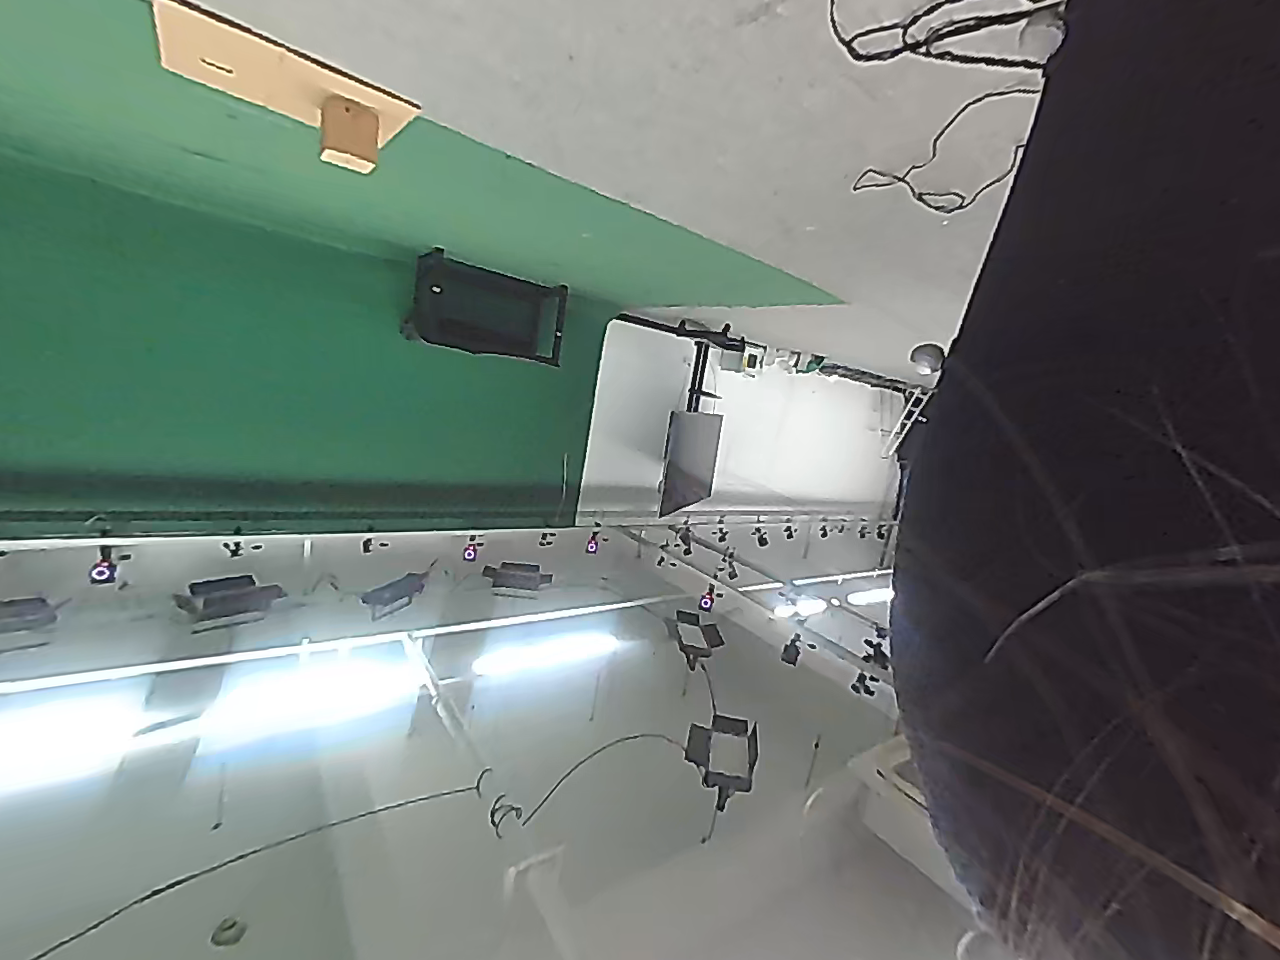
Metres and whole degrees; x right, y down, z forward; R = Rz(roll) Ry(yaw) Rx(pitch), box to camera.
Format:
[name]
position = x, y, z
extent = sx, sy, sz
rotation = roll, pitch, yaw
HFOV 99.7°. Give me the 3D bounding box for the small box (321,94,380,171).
[small box]
position = -1.064, -1.272, 1.986
extent = 0.168, 0.176, 0.179
rotation = 0, -166, -38
